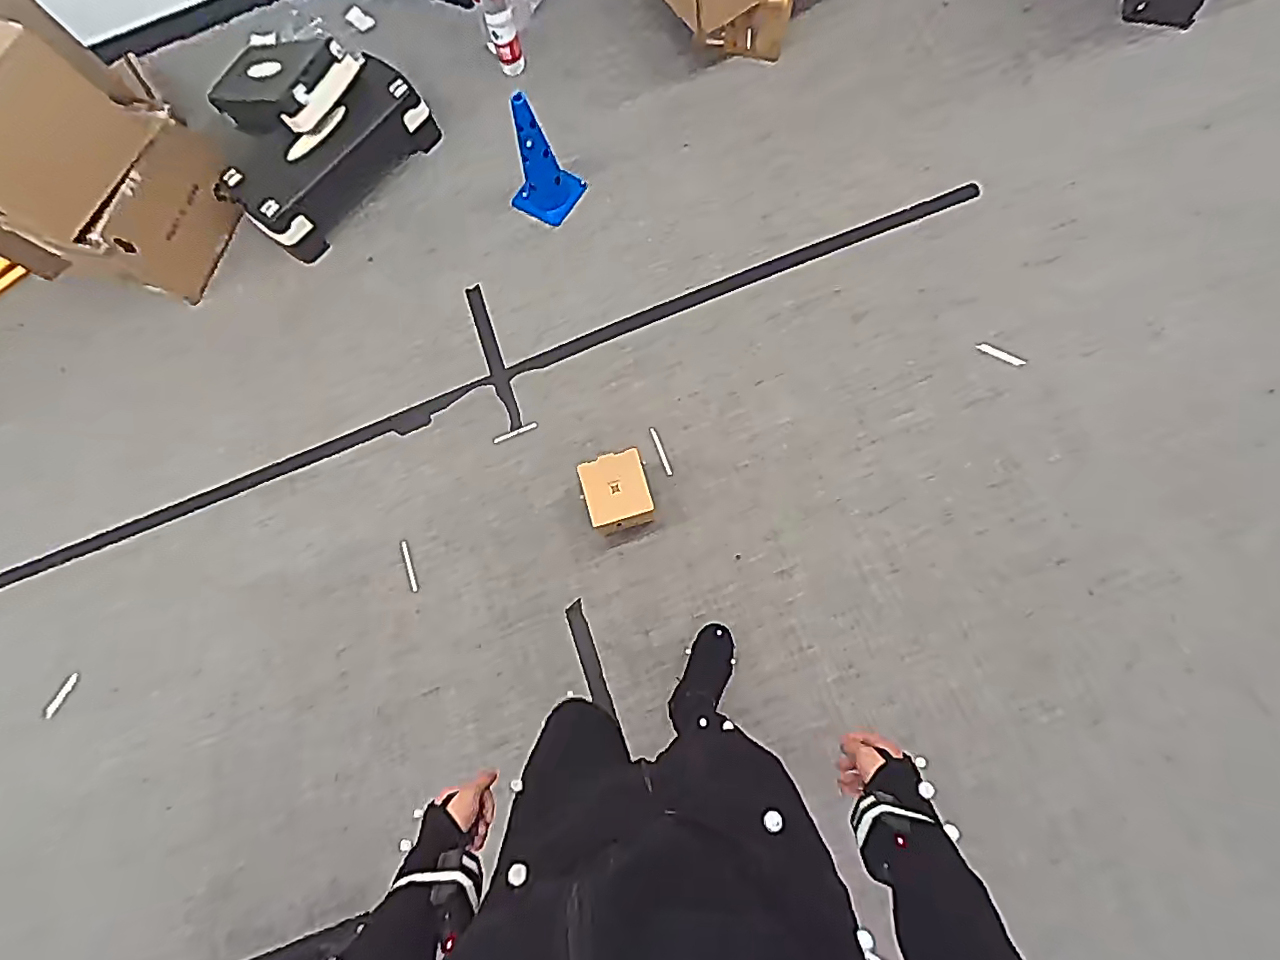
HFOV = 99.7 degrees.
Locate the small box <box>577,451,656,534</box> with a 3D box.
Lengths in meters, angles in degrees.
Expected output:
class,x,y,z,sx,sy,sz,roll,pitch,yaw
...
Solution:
class,x,y,z,sx,sy,sz,roll,pitch,yaw
small box,-0.059,0.044,1.477,0.168,0.176,0.179,-17,75,1
